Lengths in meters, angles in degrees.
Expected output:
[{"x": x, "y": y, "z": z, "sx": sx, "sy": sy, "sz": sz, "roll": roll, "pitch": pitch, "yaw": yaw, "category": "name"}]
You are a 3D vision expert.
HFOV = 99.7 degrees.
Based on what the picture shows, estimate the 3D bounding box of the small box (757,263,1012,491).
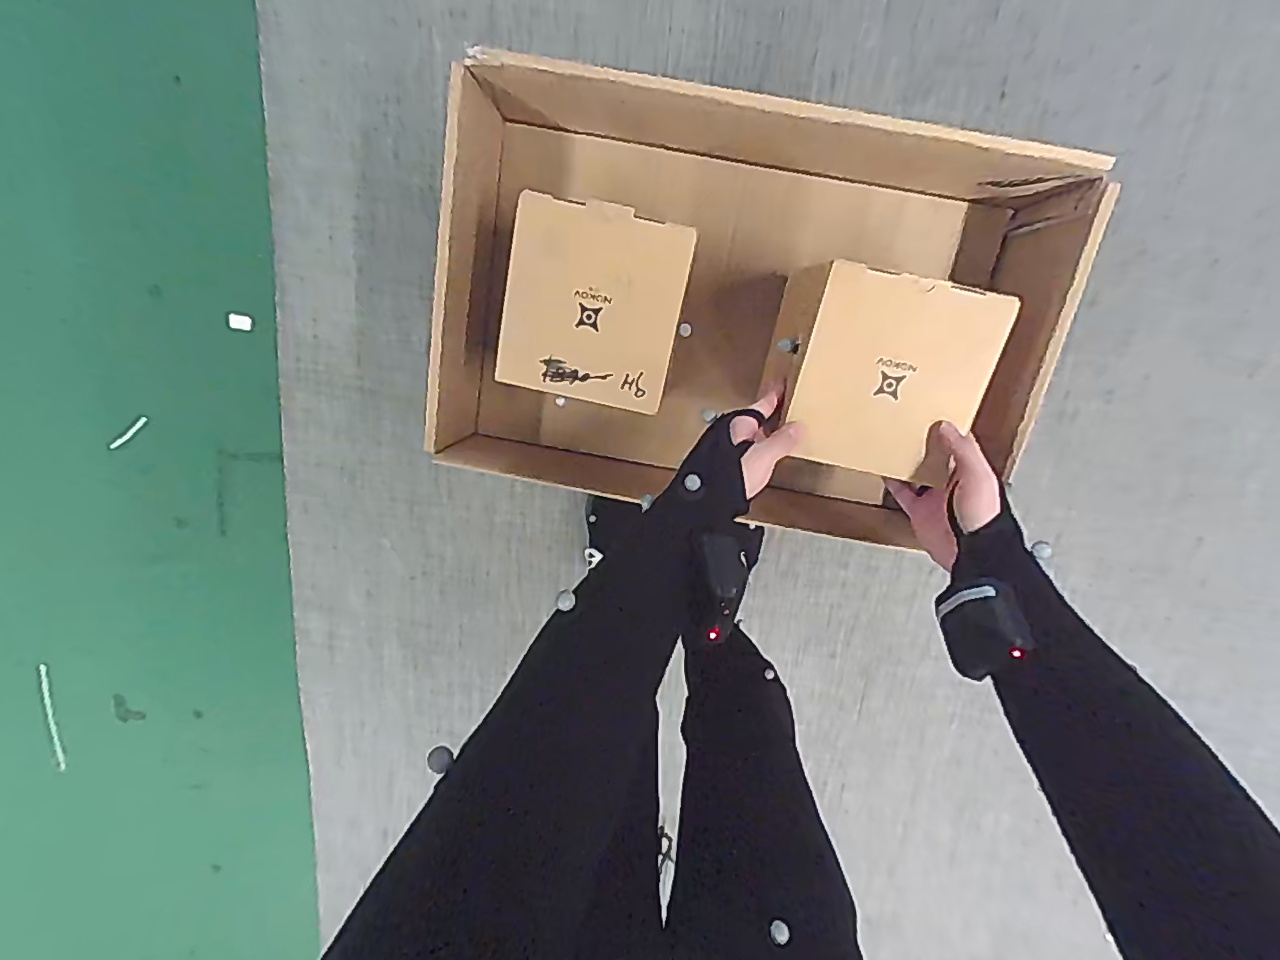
[{"x": 0.226, "y": -0.110, "z": 0.560, "sx": 0.168, "sy": 0.176, "sz": 0.179, "roll": 12, "pitch": 107, "yaw": 0, "category": "small box"}]

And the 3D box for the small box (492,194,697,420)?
[{"x": -0.042, "y": -0.176, "z": 0.584, "sx": 0.168, "sy": 0.176, "sz": 0.179, "roll": 13, "pitch": 104, "yaw": 1, "category": "small box"}]
